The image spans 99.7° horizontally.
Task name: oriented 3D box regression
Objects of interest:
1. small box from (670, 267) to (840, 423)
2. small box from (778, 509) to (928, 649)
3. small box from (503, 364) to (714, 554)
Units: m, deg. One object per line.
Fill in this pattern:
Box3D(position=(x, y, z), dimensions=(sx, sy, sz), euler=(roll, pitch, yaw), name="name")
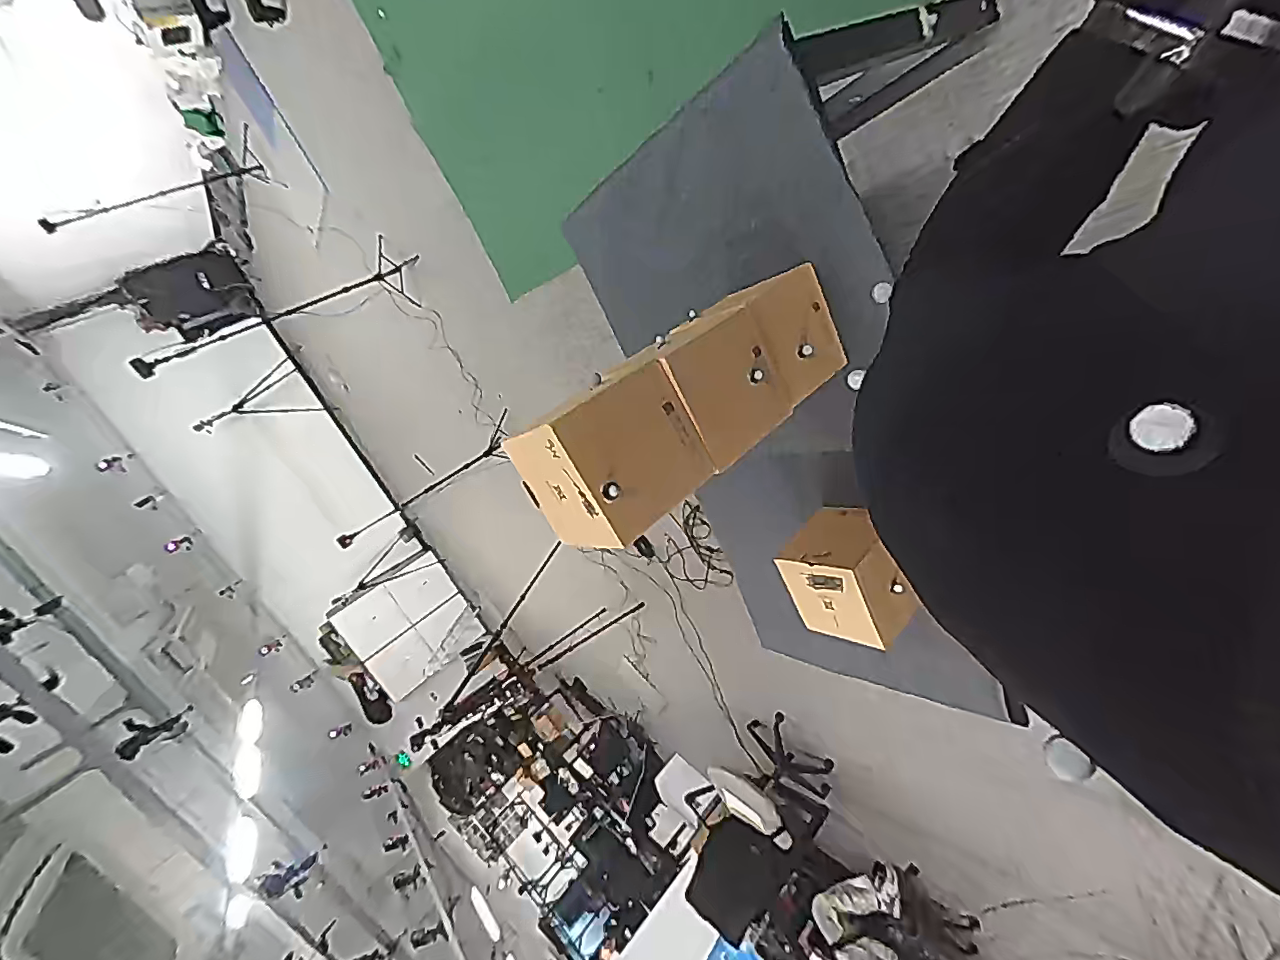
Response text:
Box3D(position=(0.186, -0.207, 0.846), dimensions=(0.179, 0.176, 0.168), euler=(-1, 123, 56), name="small box")
Box3D(position=(0.388, 0.167, 0.979), dimensions=(0.168, 0.176, 0.179), euler=(0, 124, 56), name="small box")
Box3D(position=(-0.040, -0.026, 0.690), dimensions=(0.179, 0.176, 0.168), euler=(-6, 119, 58), name="small box")
